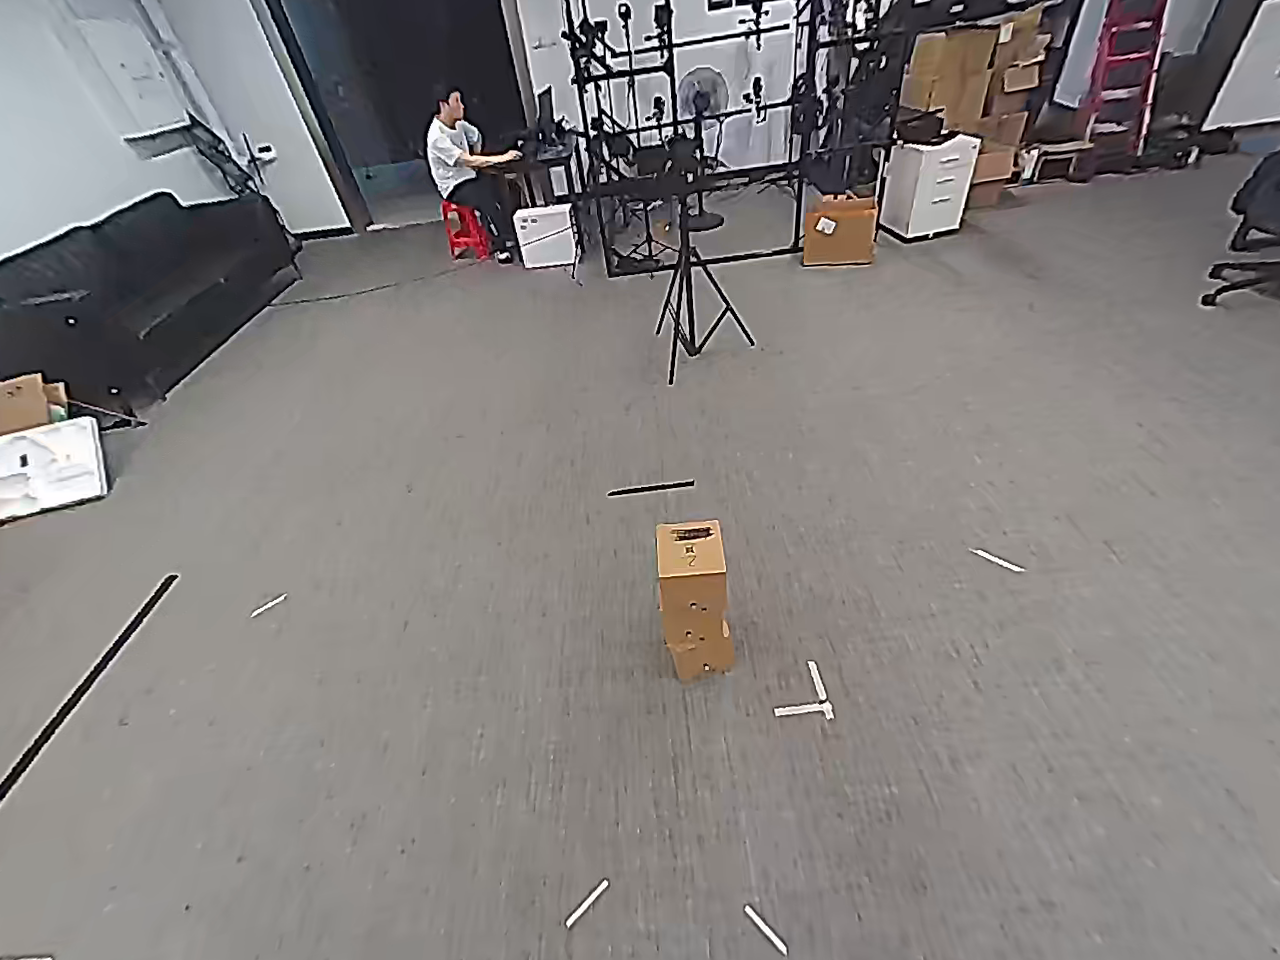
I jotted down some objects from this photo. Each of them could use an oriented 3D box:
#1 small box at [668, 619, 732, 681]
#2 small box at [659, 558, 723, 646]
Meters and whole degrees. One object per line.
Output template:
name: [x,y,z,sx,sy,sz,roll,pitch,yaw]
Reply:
small box: [0.169,0.470,1.626,0.168,0.176,0.179,-15,41,-6]
small box: [0.142,0.344,1.526,0.168,0.176,0.179,-6,41,3]
